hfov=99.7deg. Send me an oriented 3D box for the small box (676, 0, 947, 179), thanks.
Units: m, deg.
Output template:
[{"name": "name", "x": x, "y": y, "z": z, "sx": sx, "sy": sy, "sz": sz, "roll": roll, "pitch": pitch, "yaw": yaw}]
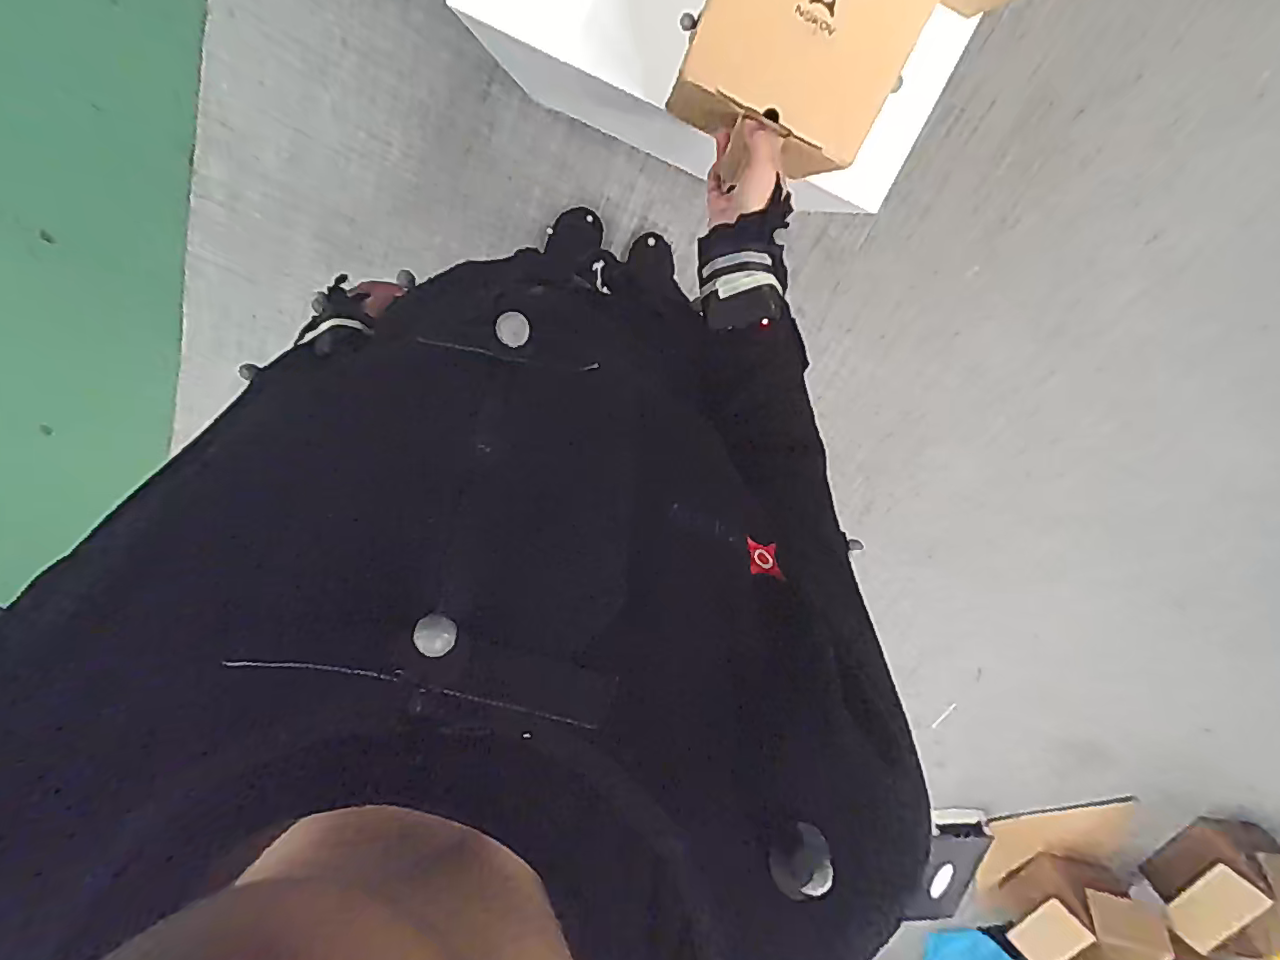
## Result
[{"name": "small box", "x": 0.142, "y": -0.400, "z": 0.489, "sx": 0.168, "sy": 0.176, "sz": 0.179, "roll": 20, "pitch": 114, "yaw": -12}]
